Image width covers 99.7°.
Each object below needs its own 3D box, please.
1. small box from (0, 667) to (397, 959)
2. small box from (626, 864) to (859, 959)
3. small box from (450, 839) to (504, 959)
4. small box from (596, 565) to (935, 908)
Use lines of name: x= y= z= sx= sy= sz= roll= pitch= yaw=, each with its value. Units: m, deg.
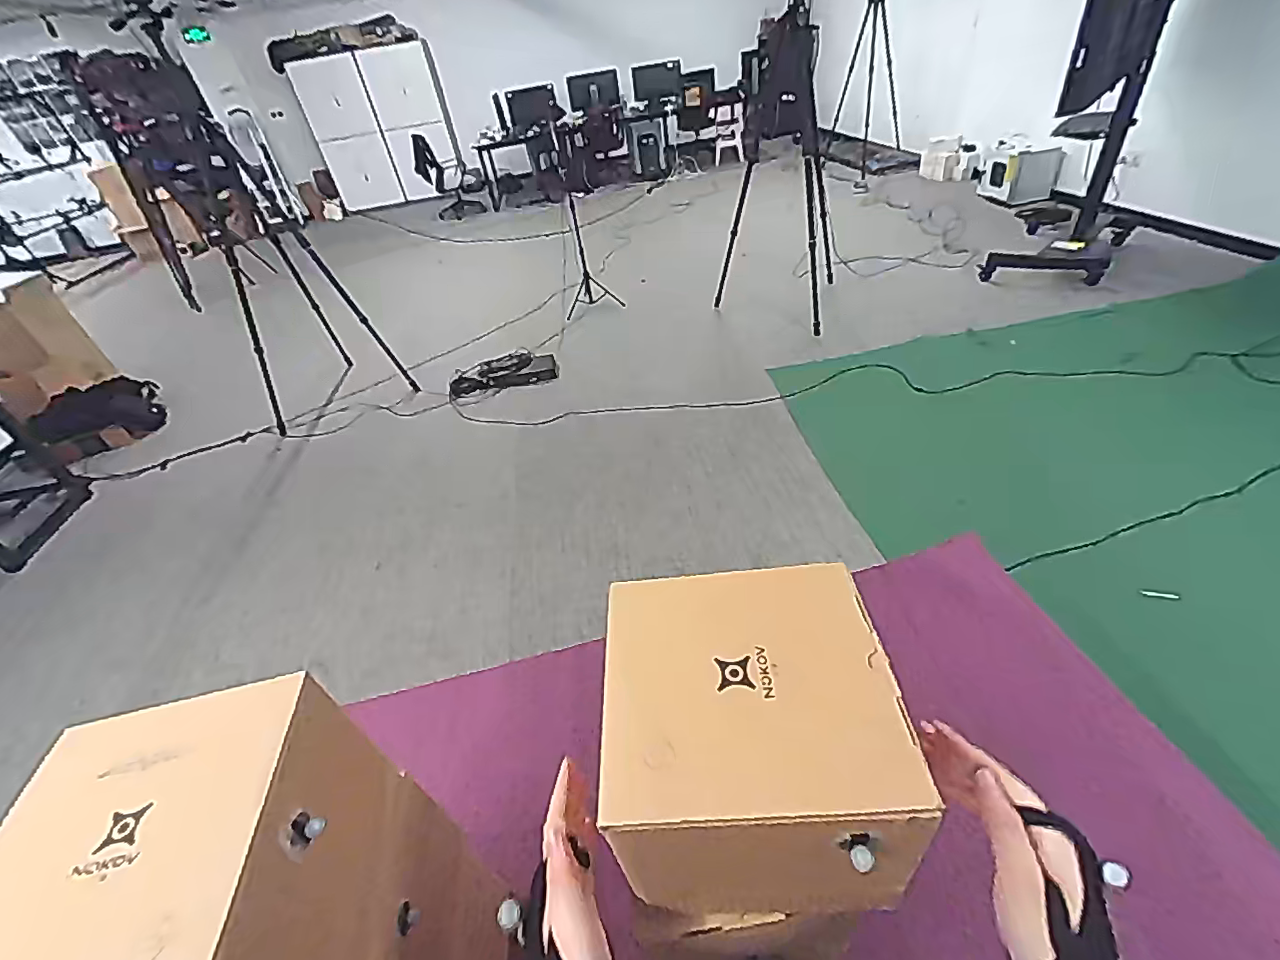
small box: x=-0.286 y=0.262 z=0.363 sx=0.168 sy=0.176 sz=0.179 roll=-11 pitch=39 yaw=-3
small box: x=0.075 y=0.309 z=0.489 sx=0.168 sy=0.176 sz=0.179 roll=-10 pitch=39 yaw=0
small box: x=-0.247 y=0.514 z=0.569 sx=0.168 sy=0.176 sz=0.179 roll=-10 pitch=40 yaw=-3
small box: x=0.074 y=0.182 z=0.385 sx=0.179 sy=0.176 sz=0.168 roll=-5 pitch=39 yaw=4
